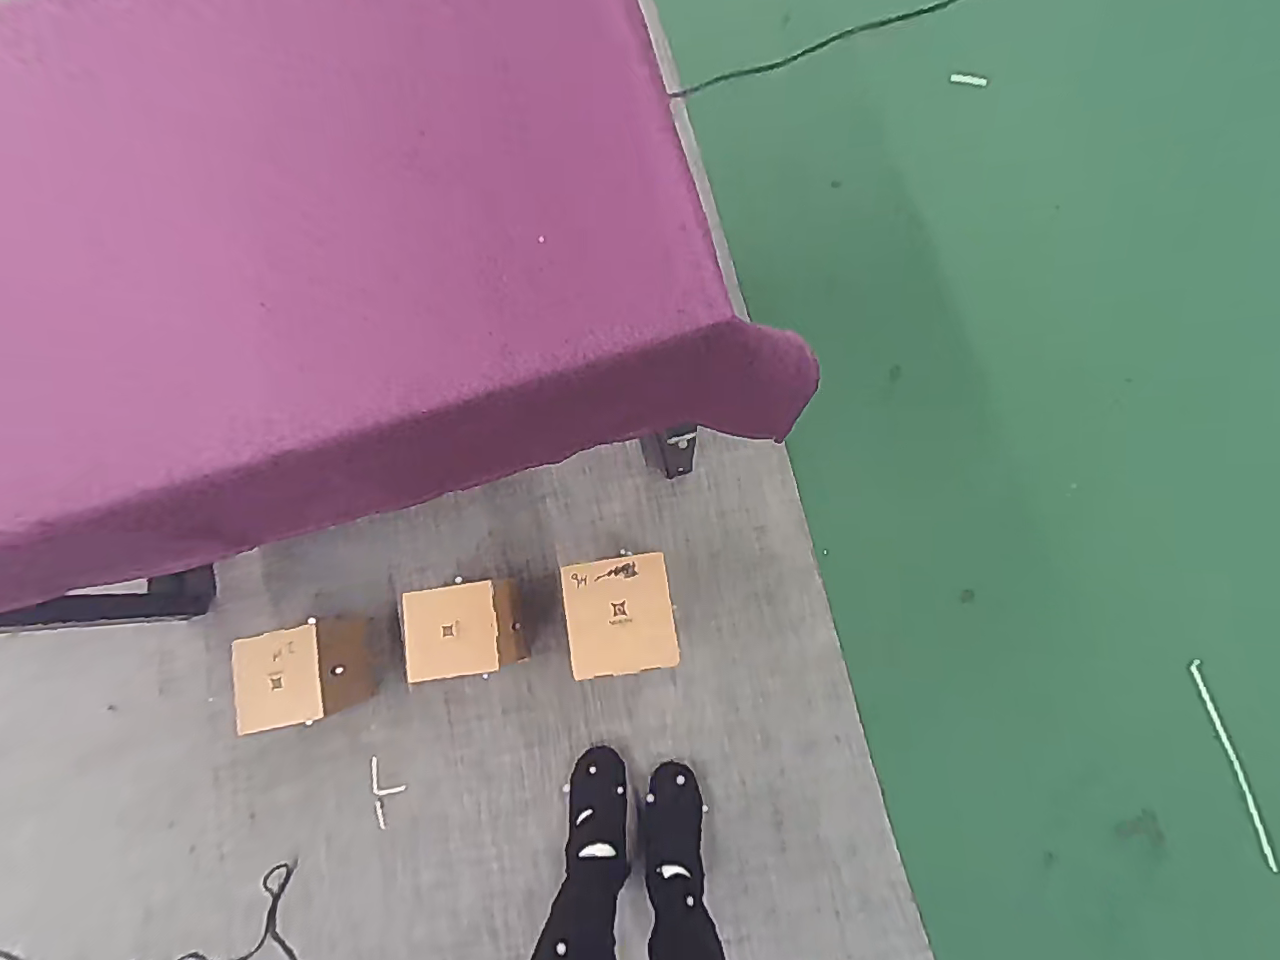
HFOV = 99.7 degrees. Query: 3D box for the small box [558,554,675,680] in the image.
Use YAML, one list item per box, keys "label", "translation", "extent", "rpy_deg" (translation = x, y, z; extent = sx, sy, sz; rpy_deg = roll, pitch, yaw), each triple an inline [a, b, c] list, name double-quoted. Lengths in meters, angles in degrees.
- label: "small box"
  translation: [-0.033, 0.222, 0.910]
  extent: [0.168, 0.176, 0.179]
  rpy_deg: [-8, 80, 2]
